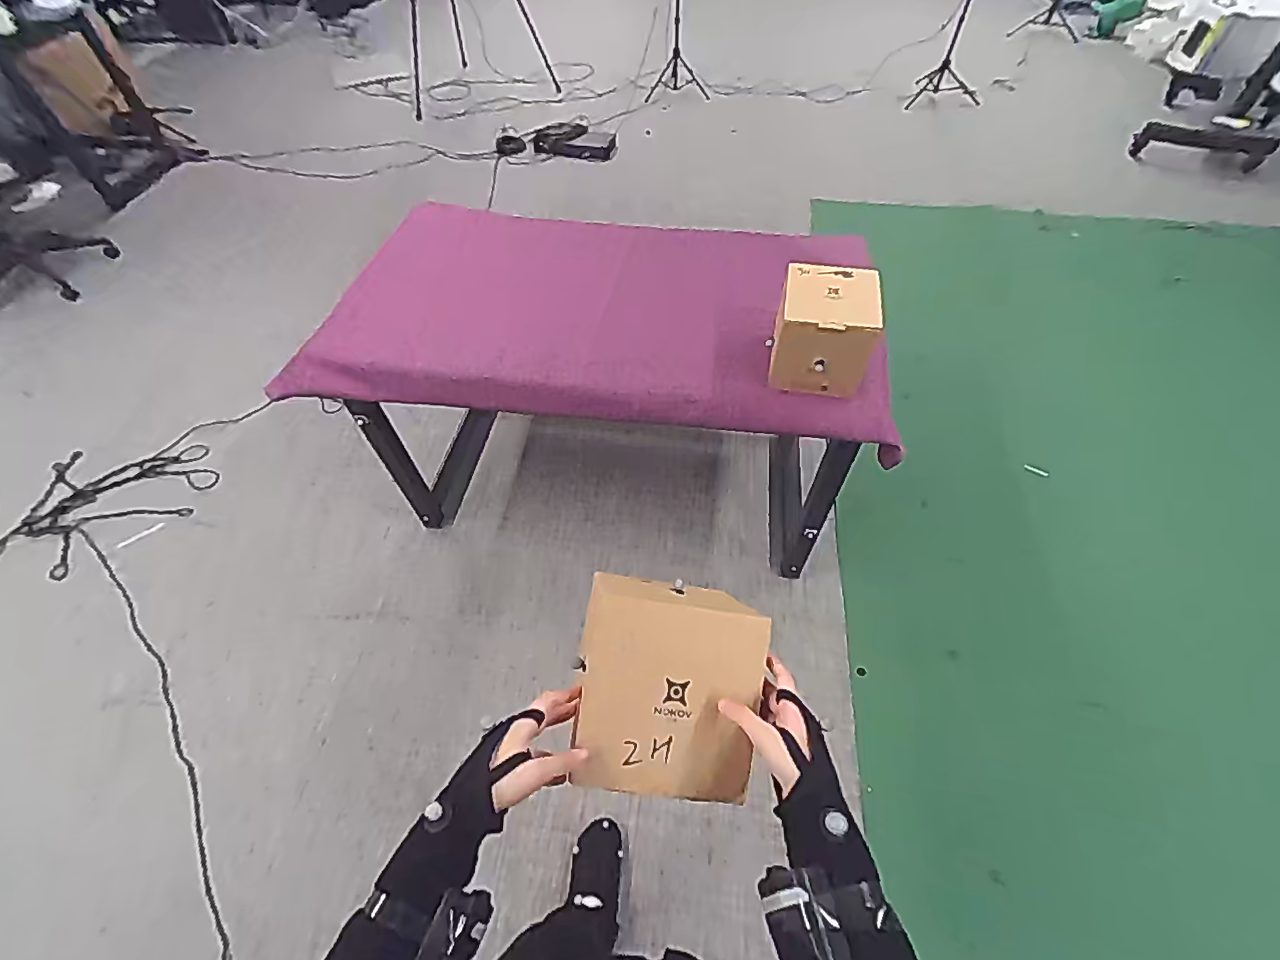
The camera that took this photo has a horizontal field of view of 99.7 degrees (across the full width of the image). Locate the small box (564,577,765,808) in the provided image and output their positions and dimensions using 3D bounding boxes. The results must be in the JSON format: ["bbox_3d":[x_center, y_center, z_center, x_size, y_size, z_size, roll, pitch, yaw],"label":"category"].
[{"bbox_3d":[0.016,0.206,0.573,0.168,0.176,0.179,10,86,-5],"label":"small box"}]

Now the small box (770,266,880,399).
[{"bbox_3d":[0.344,-0.276,1.022,0.168,0.176,0.179,9,56,9],"label":"small box"}]
